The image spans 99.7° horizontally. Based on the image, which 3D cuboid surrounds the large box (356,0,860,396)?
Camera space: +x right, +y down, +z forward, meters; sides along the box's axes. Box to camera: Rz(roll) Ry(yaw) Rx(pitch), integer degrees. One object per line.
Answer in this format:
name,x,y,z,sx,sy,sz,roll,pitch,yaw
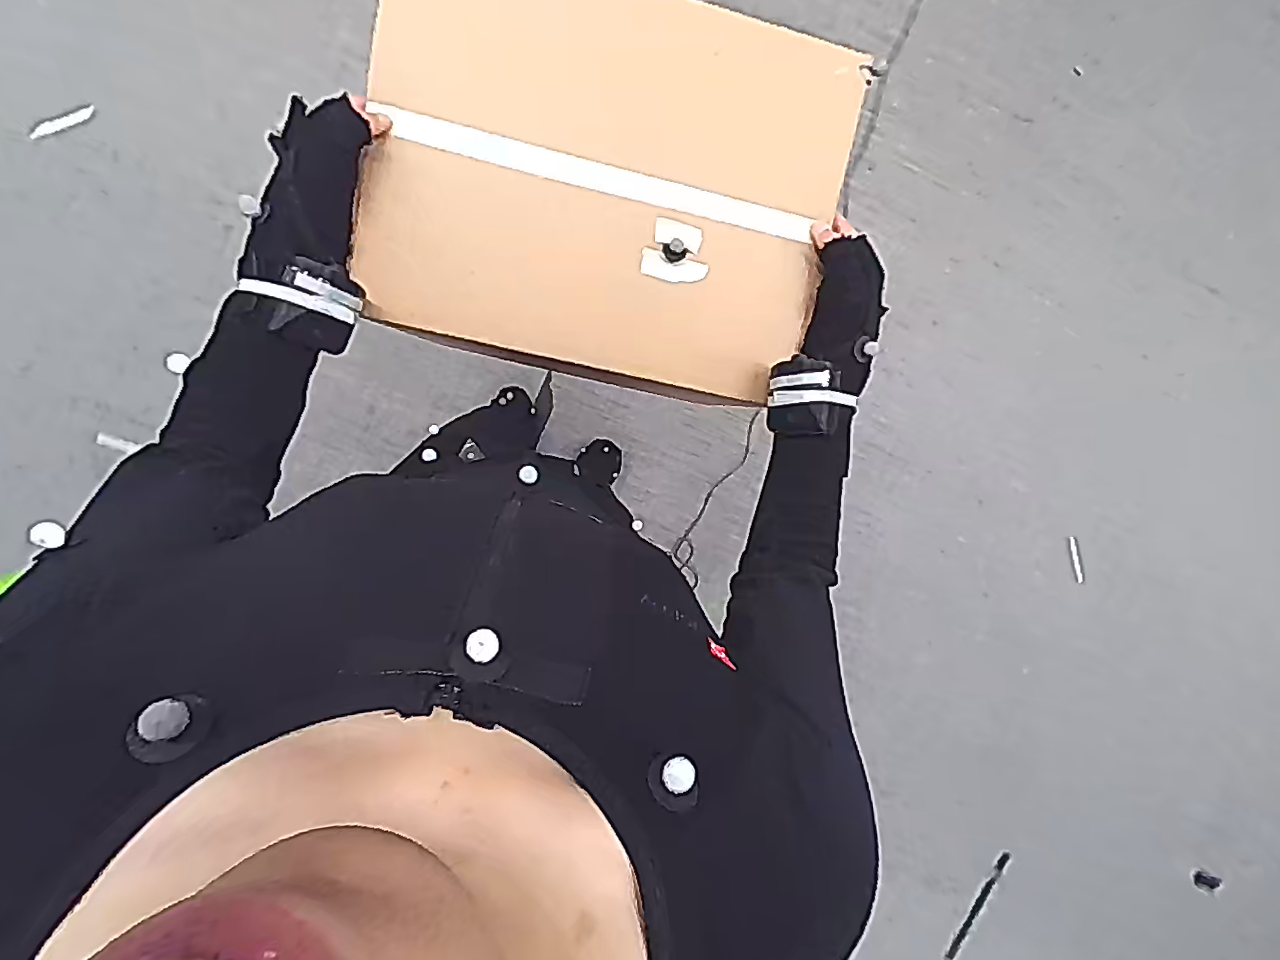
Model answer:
large box,-0.042,-0.284,0.616,0.408,0.320,0.320,10,98,-8
